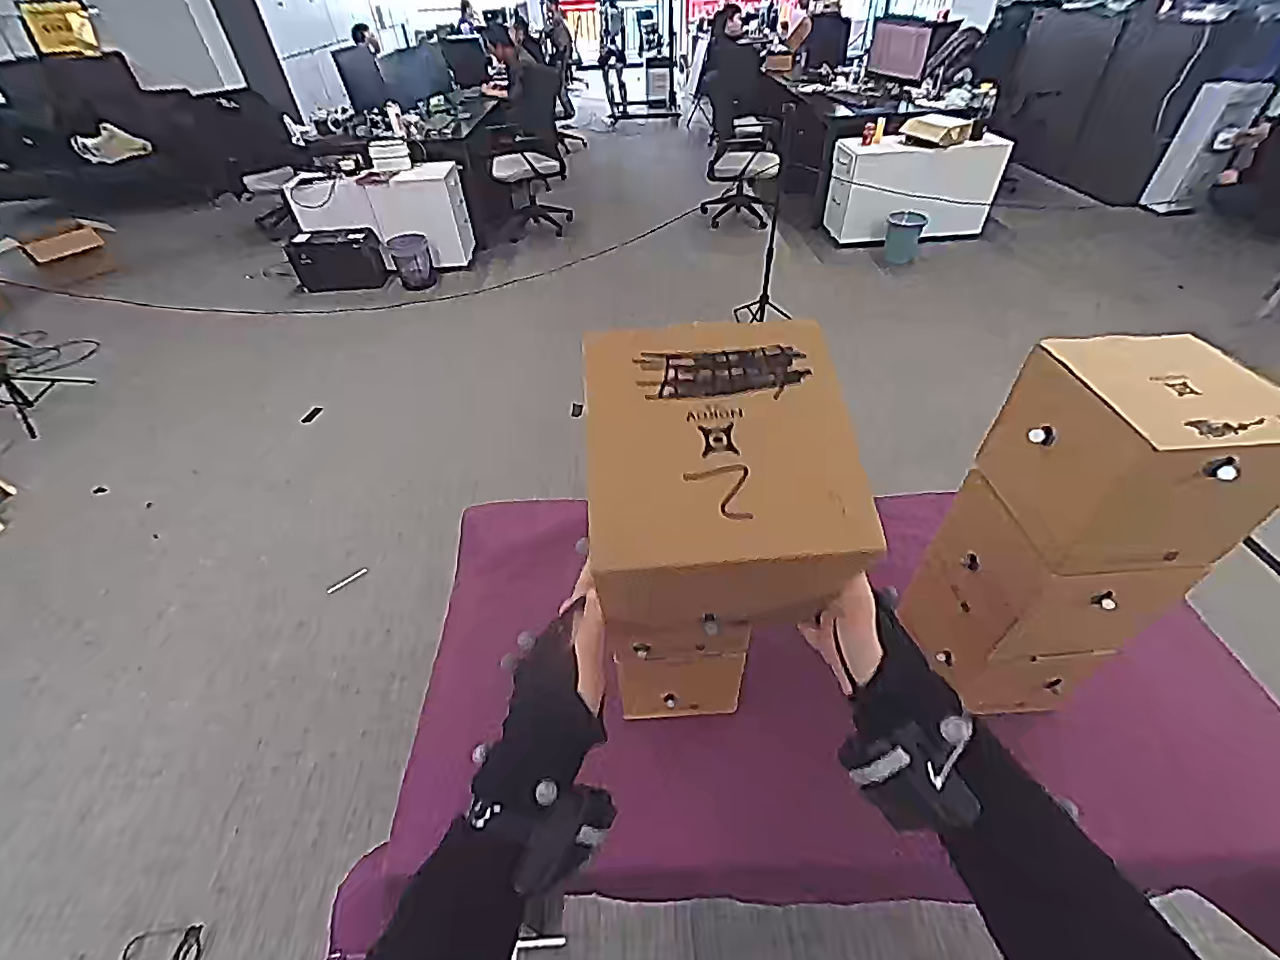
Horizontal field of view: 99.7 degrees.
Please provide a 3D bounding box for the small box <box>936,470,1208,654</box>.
[{"bbox_3d":[0.492,0.098,0.659,0.179,0.176,0.168,-4,44,-1],"label":"small box"}]

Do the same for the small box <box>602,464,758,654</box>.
[{"bbox_3d":[0.042,0.104,0.680,0.168,0.176,0.179,-4,43,-2],"label":"small box"}]

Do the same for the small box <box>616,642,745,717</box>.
[{"bbox_3d":[0.050,0.224,0.792,0.168,0.176,0.179,-4,44,-1],"label":"small box"}]

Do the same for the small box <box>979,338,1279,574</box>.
[{"bbox_3d":[0.490,-0.025,0.550,0.168,0.176,0.179,-3,43,0],"label":"small box"}]

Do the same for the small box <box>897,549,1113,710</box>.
[{"bbox_3d":[0.499,0.215,0.774,0.168,0.176,0.179,-3,43,0],"label":"small box"}]
